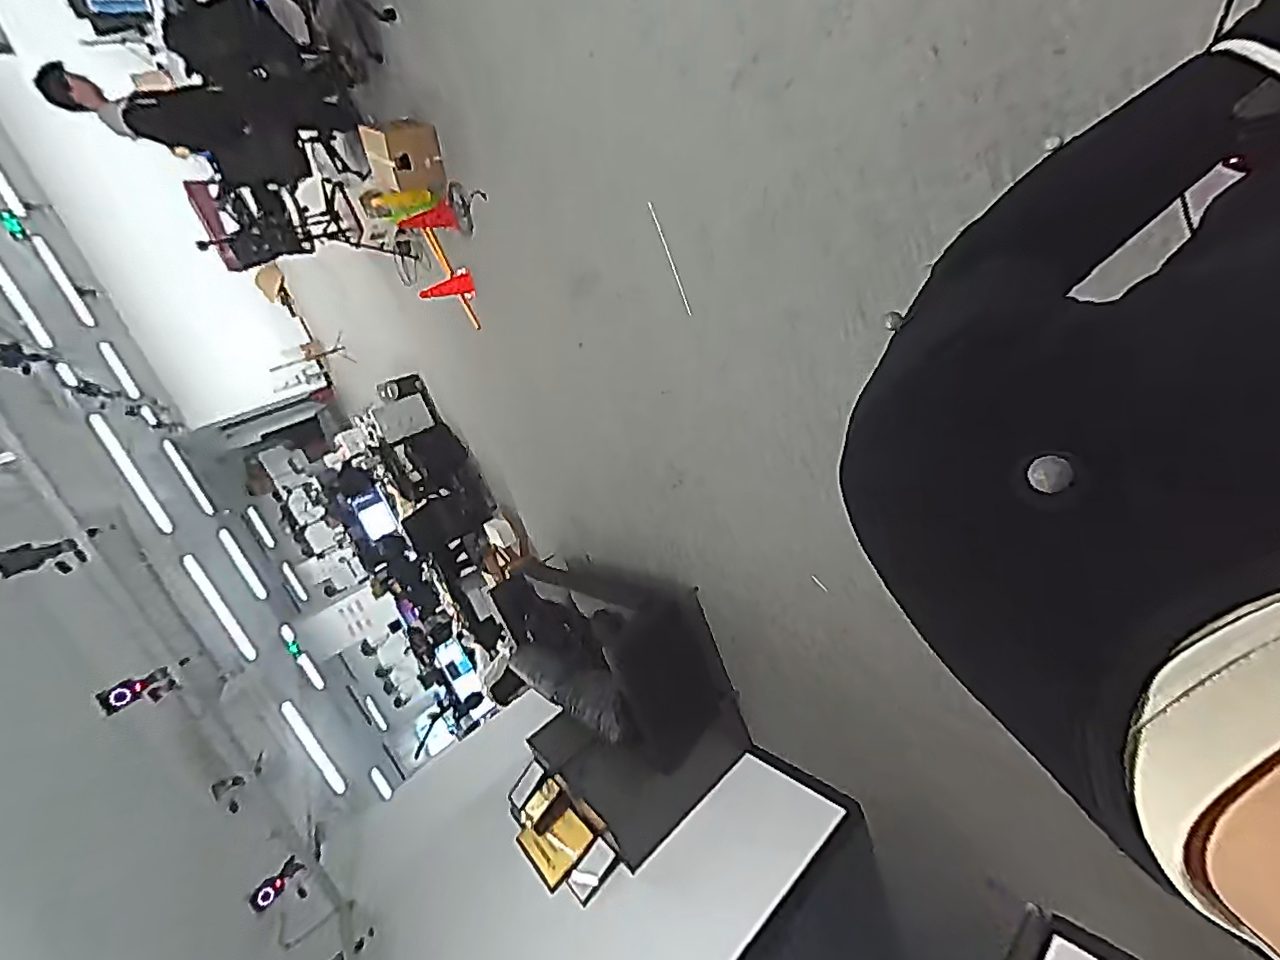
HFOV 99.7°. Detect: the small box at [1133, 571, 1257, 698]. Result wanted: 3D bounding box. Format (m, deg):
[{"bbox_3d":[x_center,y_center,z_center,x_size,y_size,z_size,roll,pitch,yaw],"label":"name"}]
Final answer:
[{"bbox_3d":[1.222,0.332,1.193,0.168,0.176,0.179,10,124,52],"label":"small box"}]
